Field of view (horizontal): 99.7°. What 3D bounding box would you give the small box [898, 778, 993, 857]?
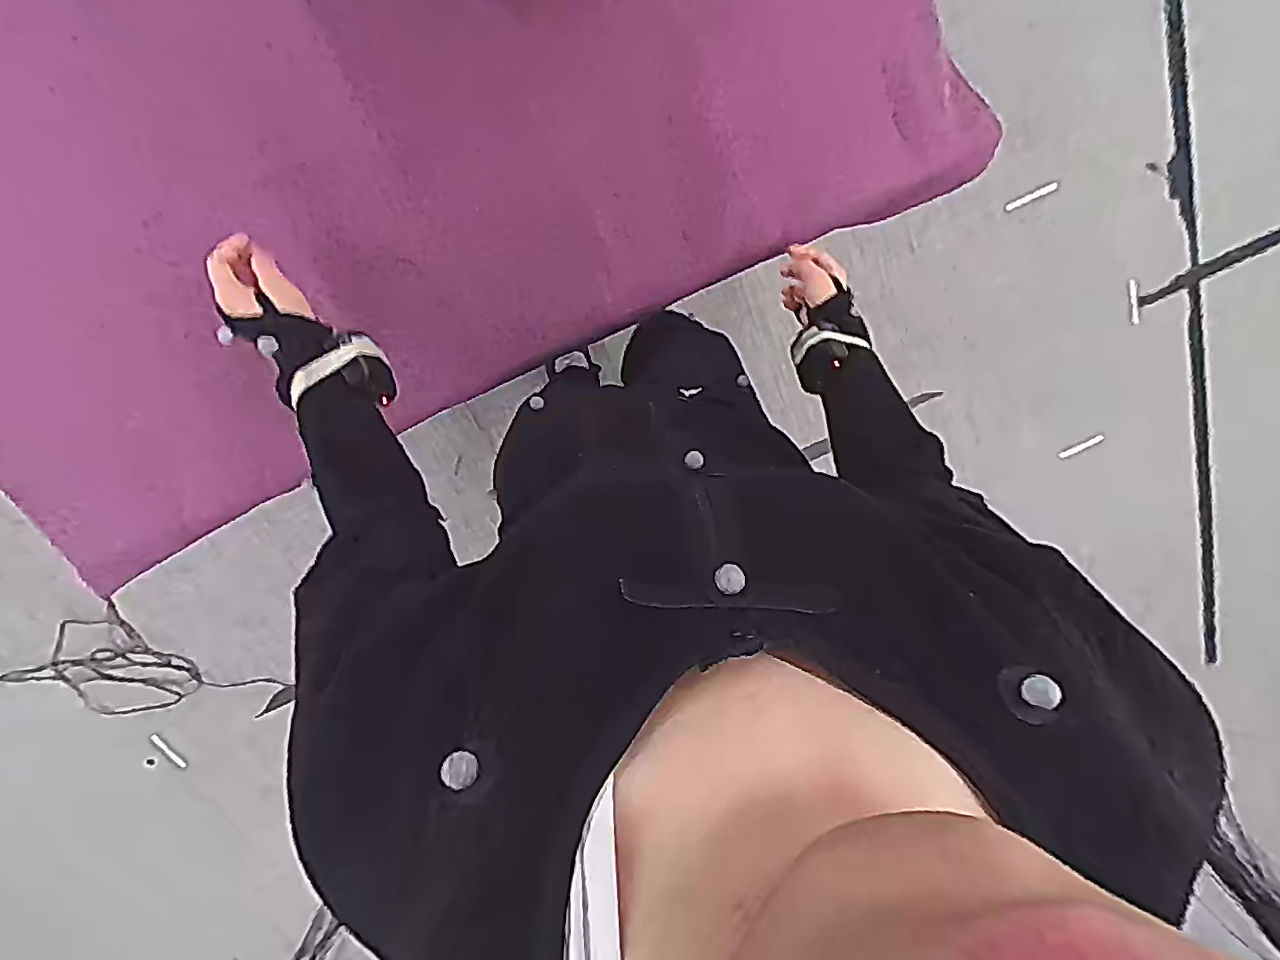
[{"bbox_3d":[1.000,1.125,1.787,0.179,0.176,0.168,23,104,-16],"label":"small box"}]
